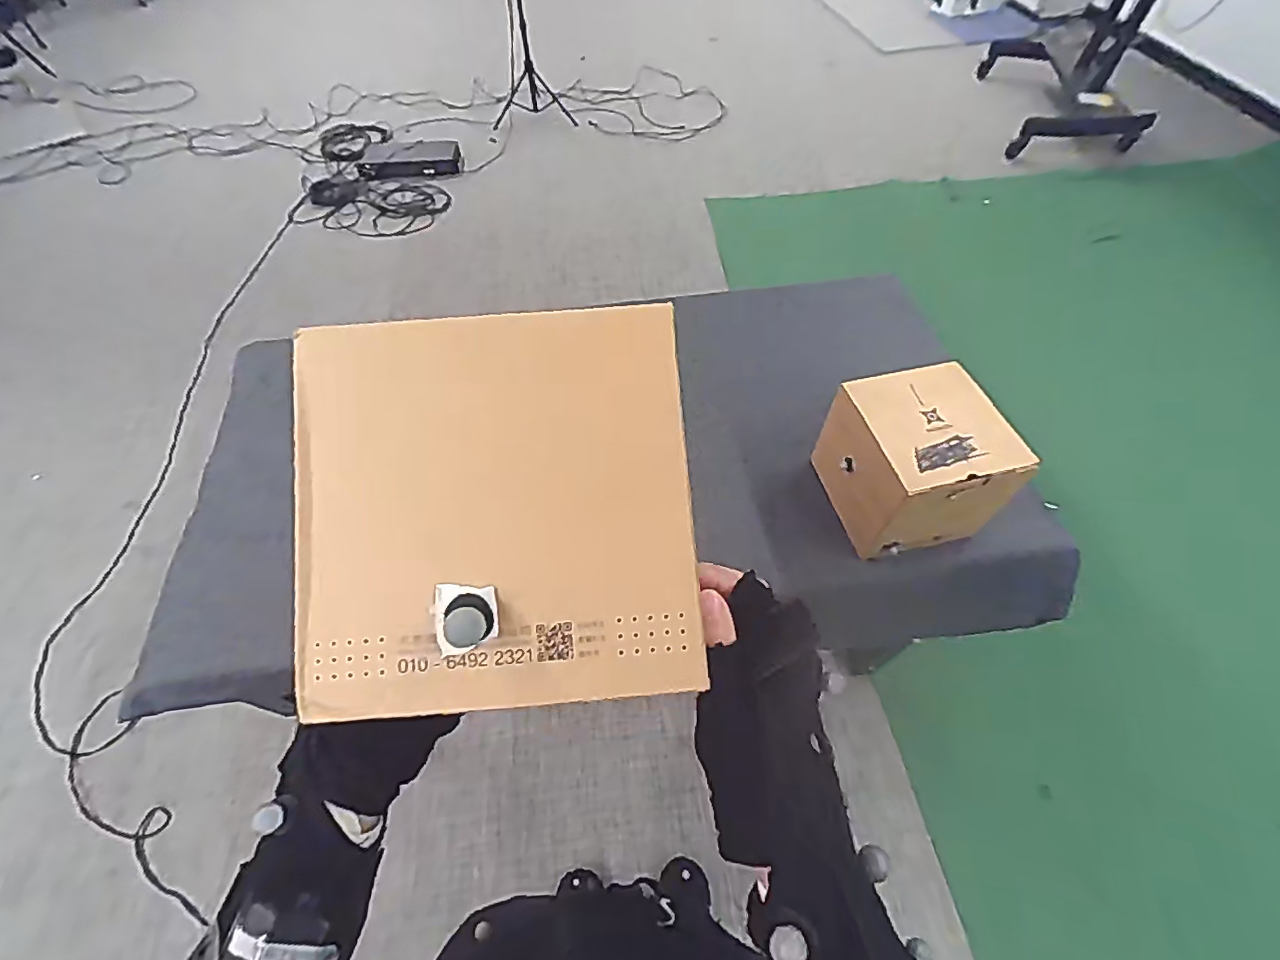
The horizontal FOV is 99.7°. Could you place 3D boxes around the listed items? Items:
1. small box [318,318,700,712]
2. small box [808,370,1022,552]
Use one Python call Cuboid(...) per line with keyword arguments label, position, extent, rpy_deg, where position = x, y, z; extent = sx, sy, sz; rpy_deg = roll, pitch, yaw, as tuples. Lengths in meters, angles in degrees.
Cuboid(label="small box", position=(-0.063, 0.023, 0.320), extent=(0.168, 0.179, 0.176), rpy_deg=(-5, 84, -3))
Cuboid(label="small box", position=(0.349, -0.017, 0.728), extent=(0.168, 0.176, 0.179), rpy_deg=(-11, 55, -6))
